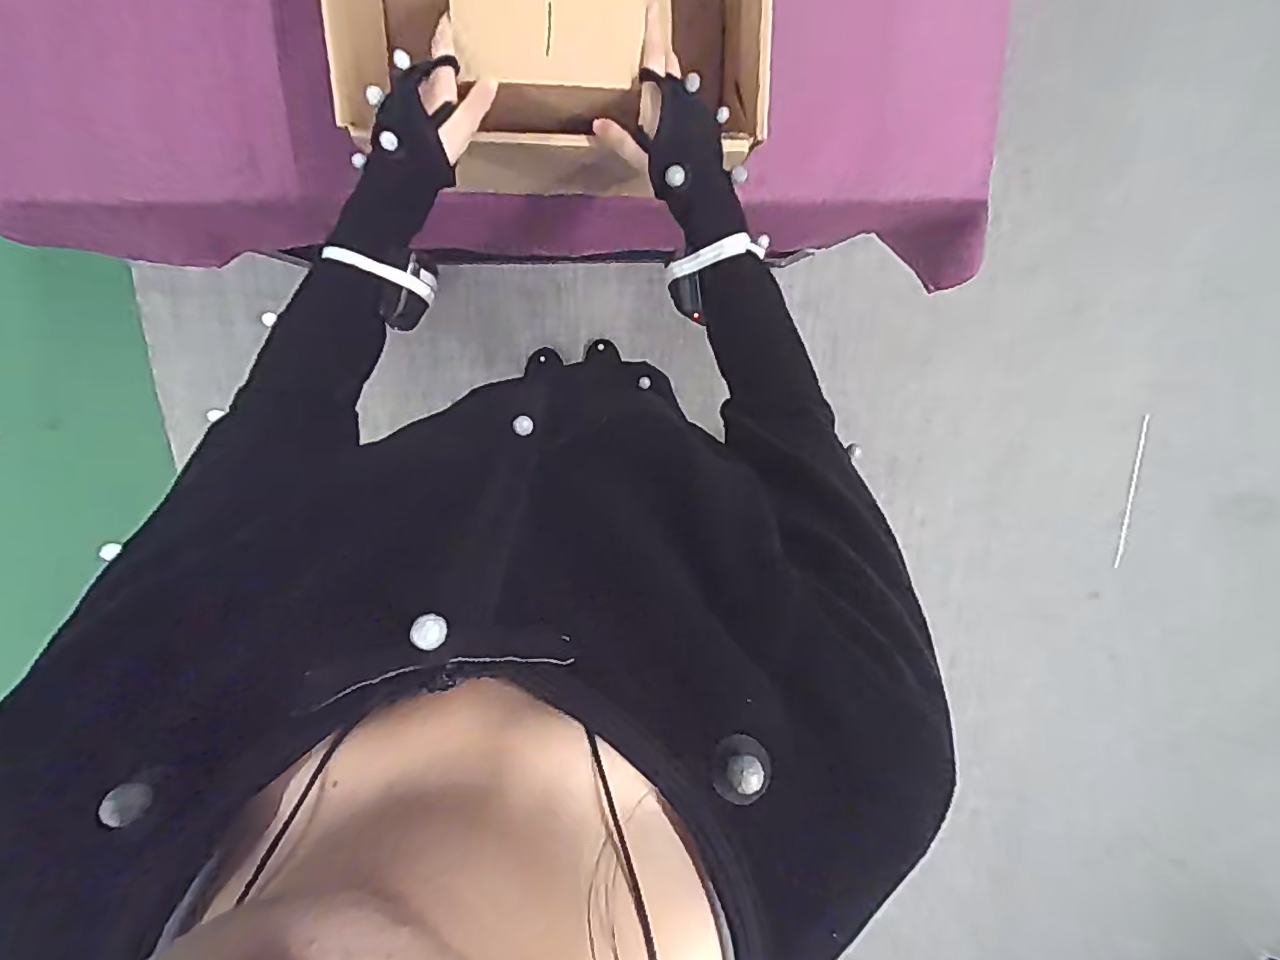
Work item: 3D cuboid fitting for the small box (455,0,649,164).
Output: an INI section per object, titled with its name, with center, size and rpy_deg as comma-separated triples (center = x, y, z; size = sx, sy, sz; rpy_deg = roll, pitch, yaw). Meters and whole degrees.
[small box]
center = -0.081, -0.439, 0.530
size = 0.168, 0.176, 0.179
rpy_deg = 0, 104, -5
